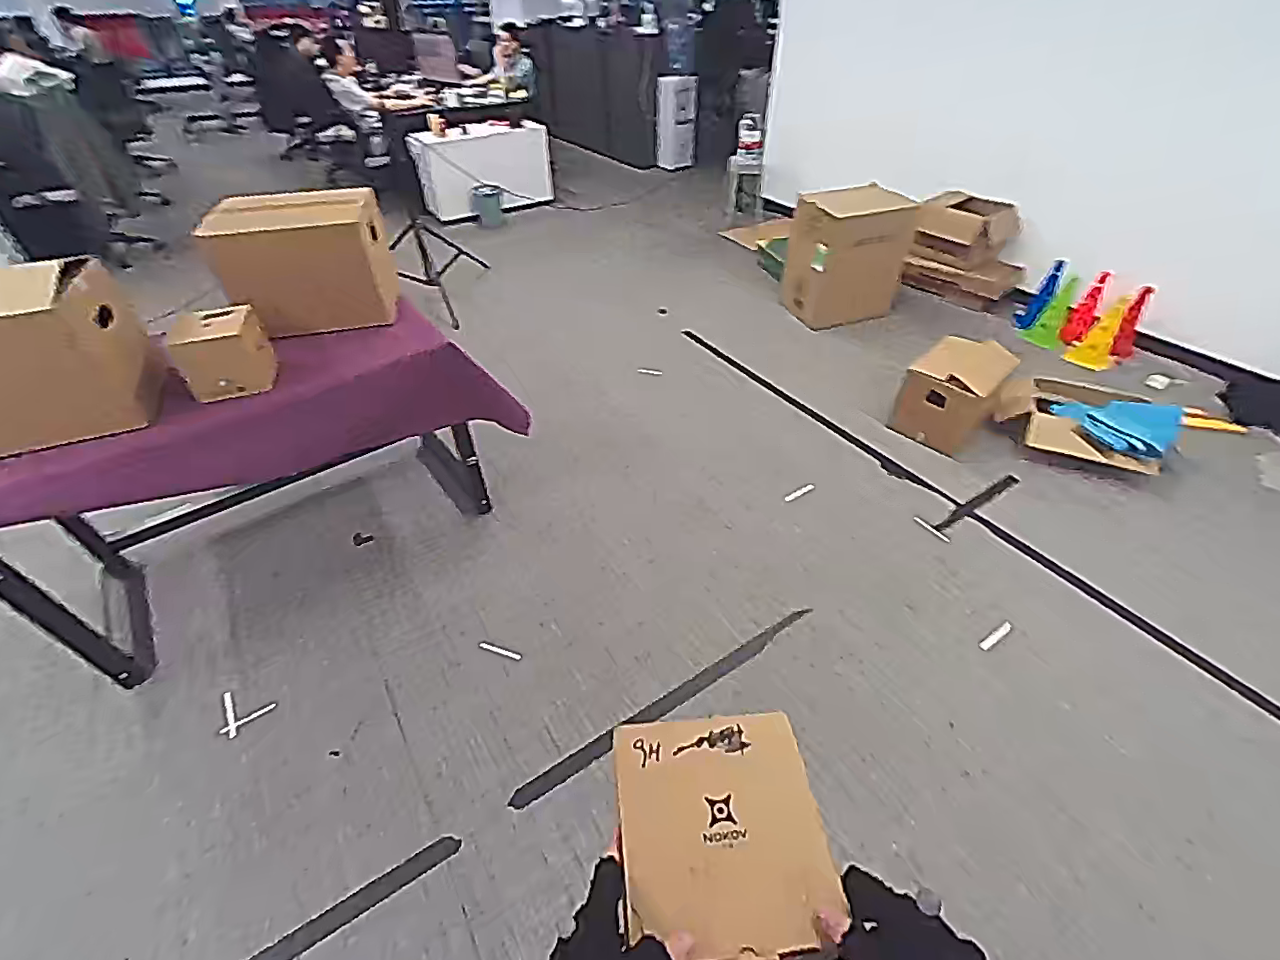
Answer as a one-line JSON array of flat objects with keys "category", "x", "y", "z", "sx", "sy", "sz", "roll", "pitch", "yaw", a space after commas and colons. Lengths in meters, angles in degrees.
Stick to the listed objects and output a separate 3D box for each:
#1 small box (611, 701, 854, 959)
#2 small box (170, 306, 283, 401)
[{"category": "small box", "x": 0.062, "y": 0.328, "z": 0.488, "sx": 0.168, "sy": 0.176, "sz": 0.179, "roll": -3, "pitch": 41, "yaw": -6}, {"category": "small box", "x": -1.061, "y": -0.330, "z": 1.408, "sx": 0.168, "sy": 0.176, "sz": 0.179, "roll": -14, "pitch": 45, "yaw": -14}]
